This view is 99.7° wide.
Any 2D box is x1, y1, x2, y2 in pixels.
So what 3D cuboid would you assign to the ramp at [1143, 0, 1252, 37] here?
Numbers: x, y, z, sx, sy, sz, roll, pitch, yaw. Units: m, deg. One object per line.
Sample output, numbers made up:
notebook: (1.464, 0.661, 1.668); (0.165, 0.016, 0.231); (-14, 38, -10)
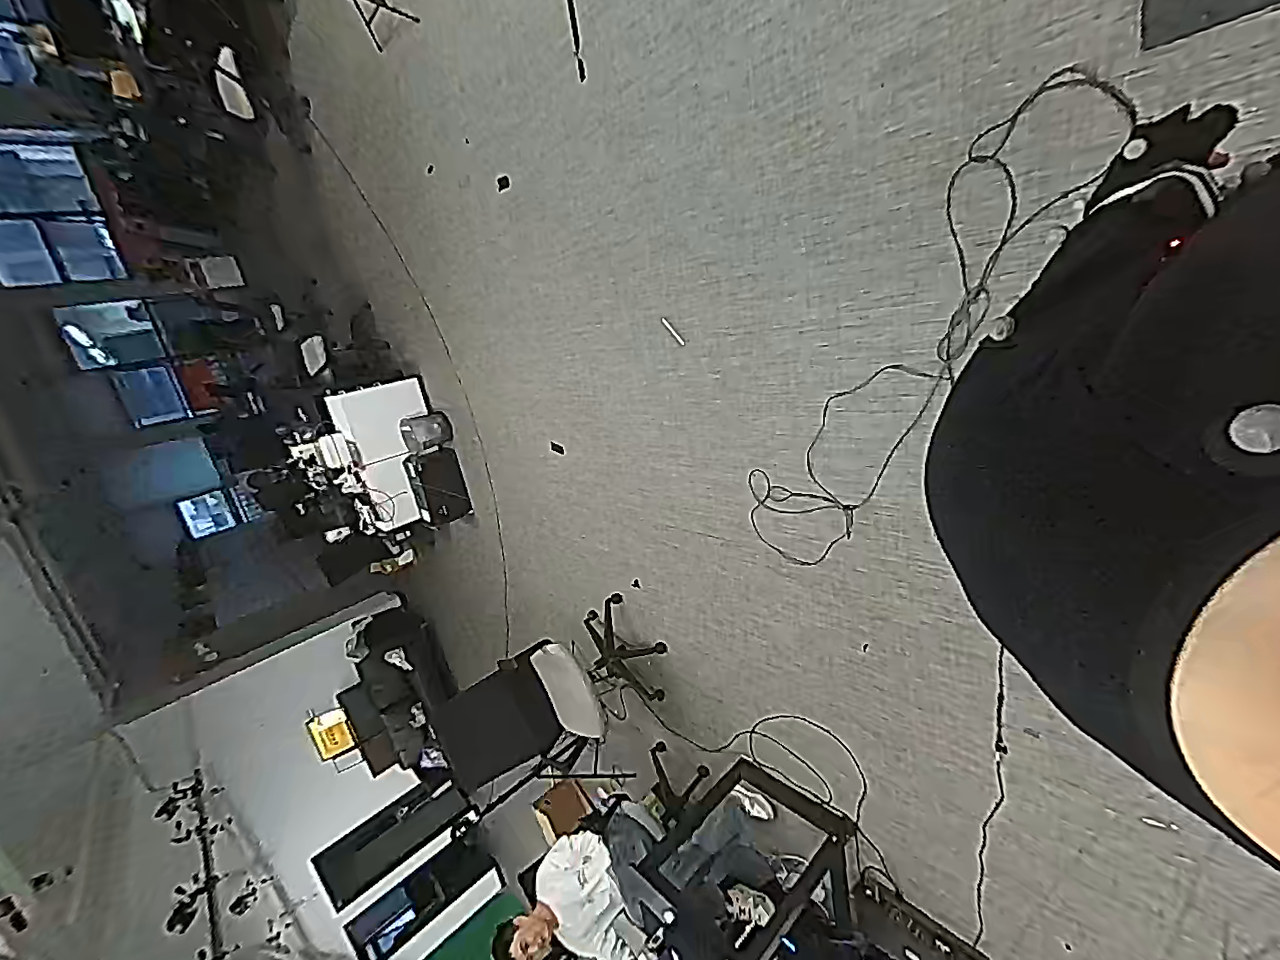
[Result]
ramp: (0.903, -1.192, 0.591); (0.509, 0.206, 0.991); (5, 114, 48)
